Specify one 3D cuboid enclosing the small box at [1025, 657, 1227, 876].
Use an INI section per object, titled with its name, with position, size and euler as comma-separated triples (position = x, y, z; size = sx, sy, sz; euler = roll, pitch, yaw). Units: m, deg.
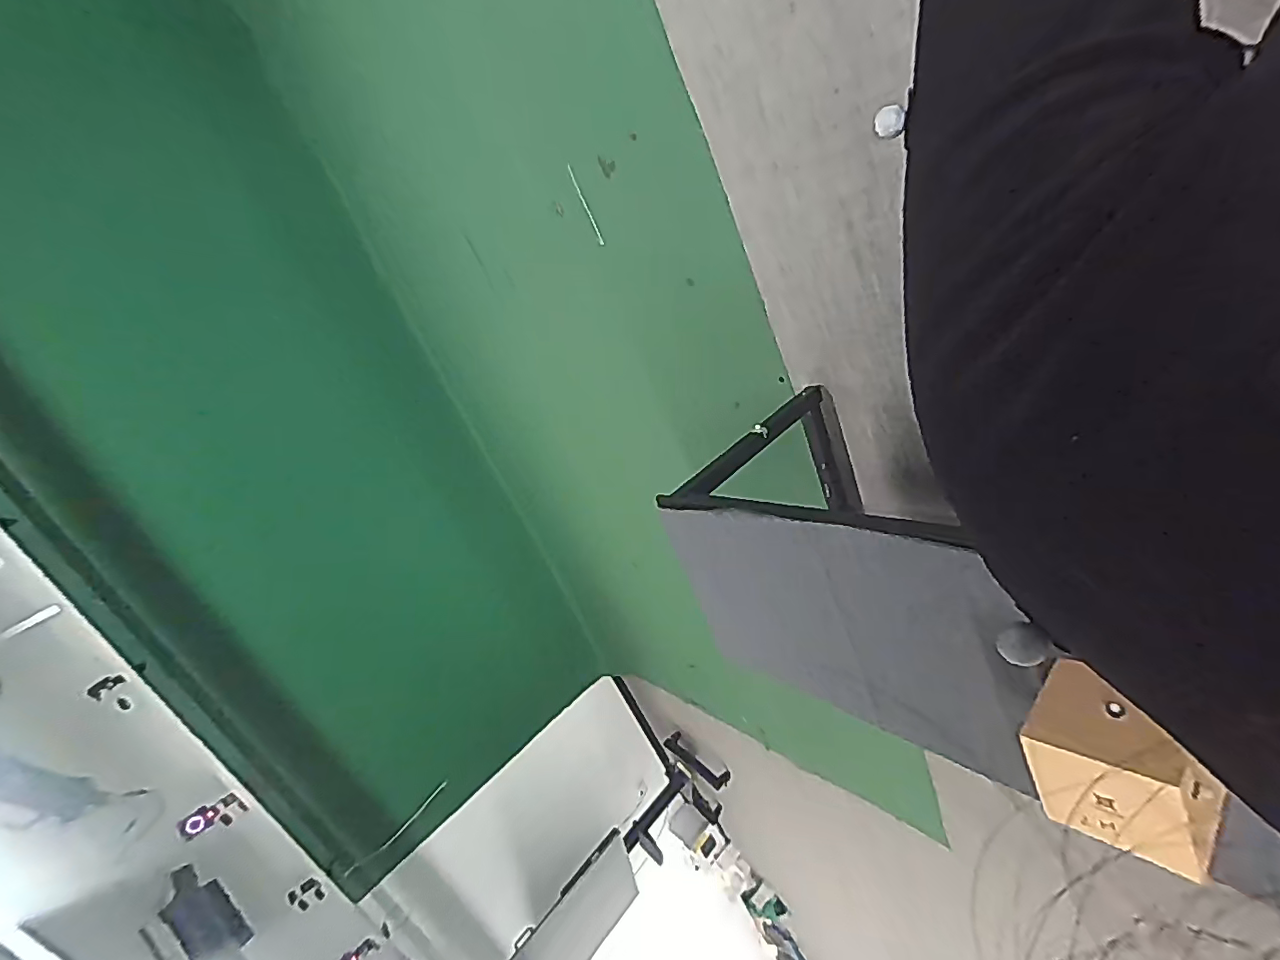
[small box]
position = 0.676, 0.378, 0.751
size = 0.168, 0.176, 0.179
euler = -1, 121, 57
